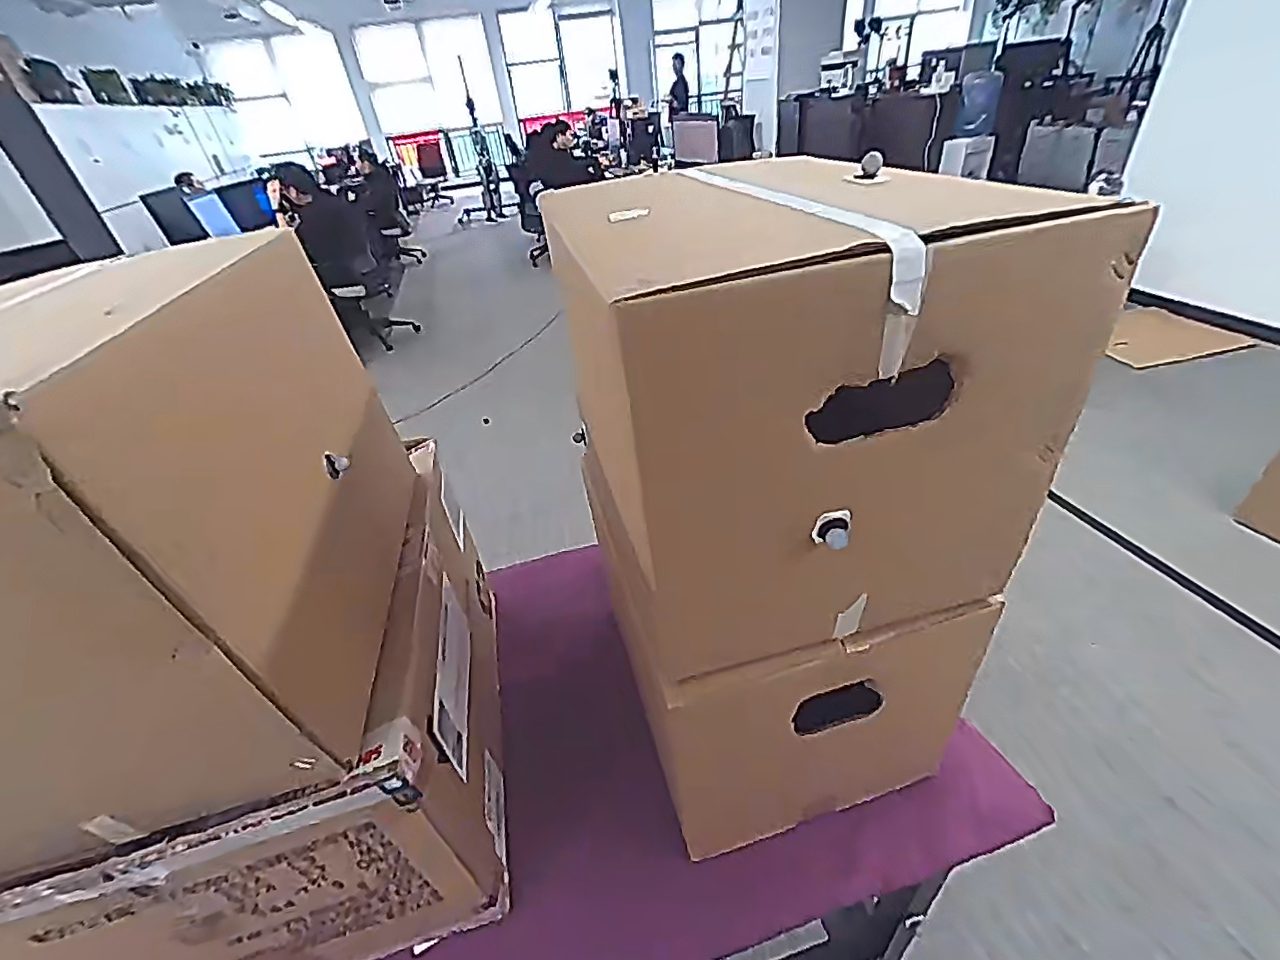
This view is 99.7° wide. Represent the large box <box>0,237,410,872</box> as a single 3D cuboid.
[{"bbox_3d":[-0.422,0.022,0.462,0.320,0.320,0.408,-17,37,-5],"label":"large box"}]
